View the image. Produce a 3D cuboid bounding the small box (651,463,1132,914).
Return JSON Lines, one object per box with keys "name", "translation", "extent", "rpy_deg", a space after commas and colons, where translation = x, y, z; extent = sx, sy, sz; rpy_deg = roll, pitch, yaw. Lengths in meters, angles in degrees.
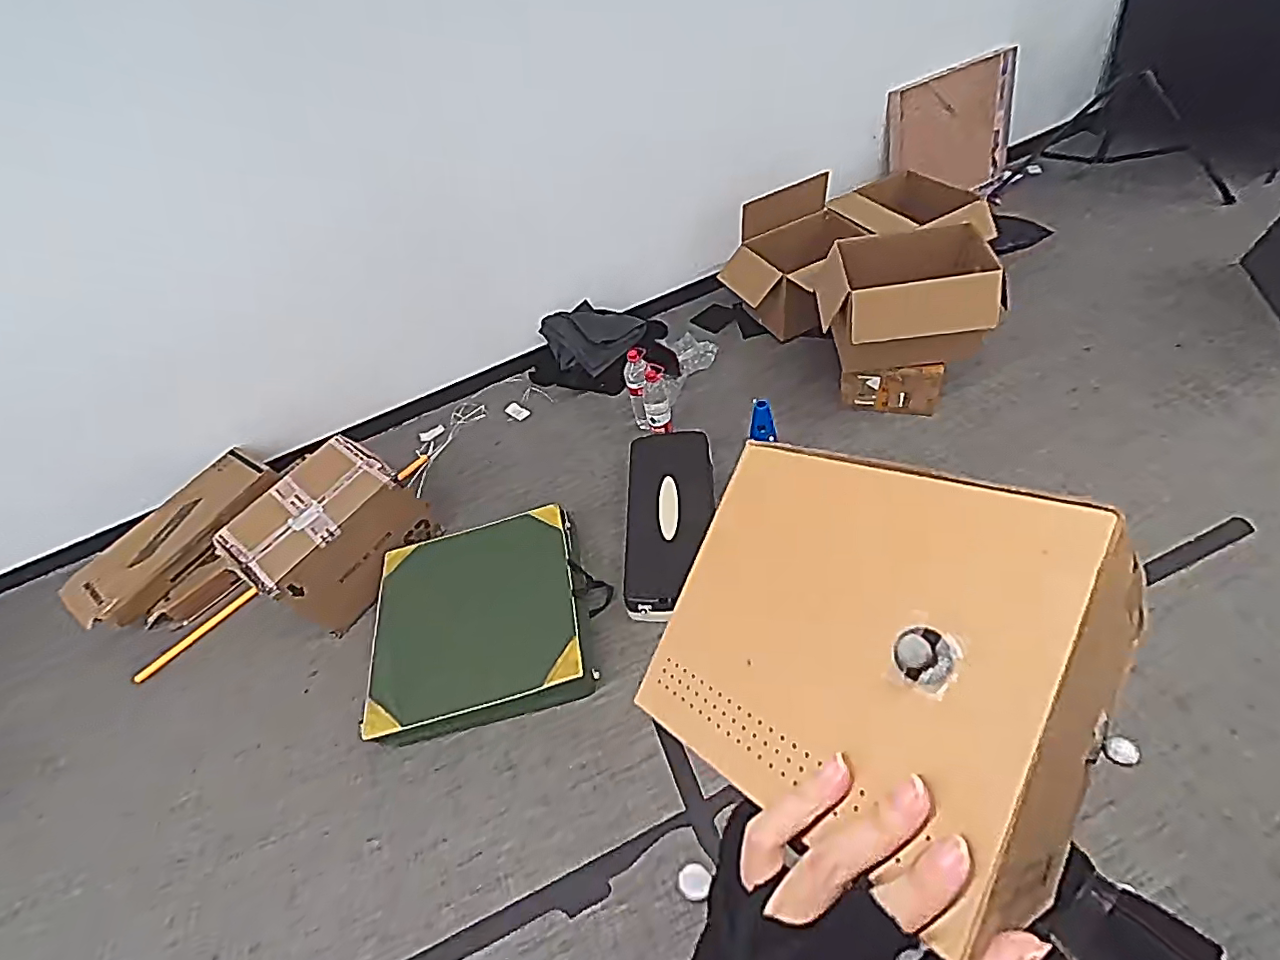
{"name": "small box", "translation": [0.140, 0.109, 0.314], "extent": [0.179, 0.168, 0.176], "rpy_deg": [16, 79, 50]}
